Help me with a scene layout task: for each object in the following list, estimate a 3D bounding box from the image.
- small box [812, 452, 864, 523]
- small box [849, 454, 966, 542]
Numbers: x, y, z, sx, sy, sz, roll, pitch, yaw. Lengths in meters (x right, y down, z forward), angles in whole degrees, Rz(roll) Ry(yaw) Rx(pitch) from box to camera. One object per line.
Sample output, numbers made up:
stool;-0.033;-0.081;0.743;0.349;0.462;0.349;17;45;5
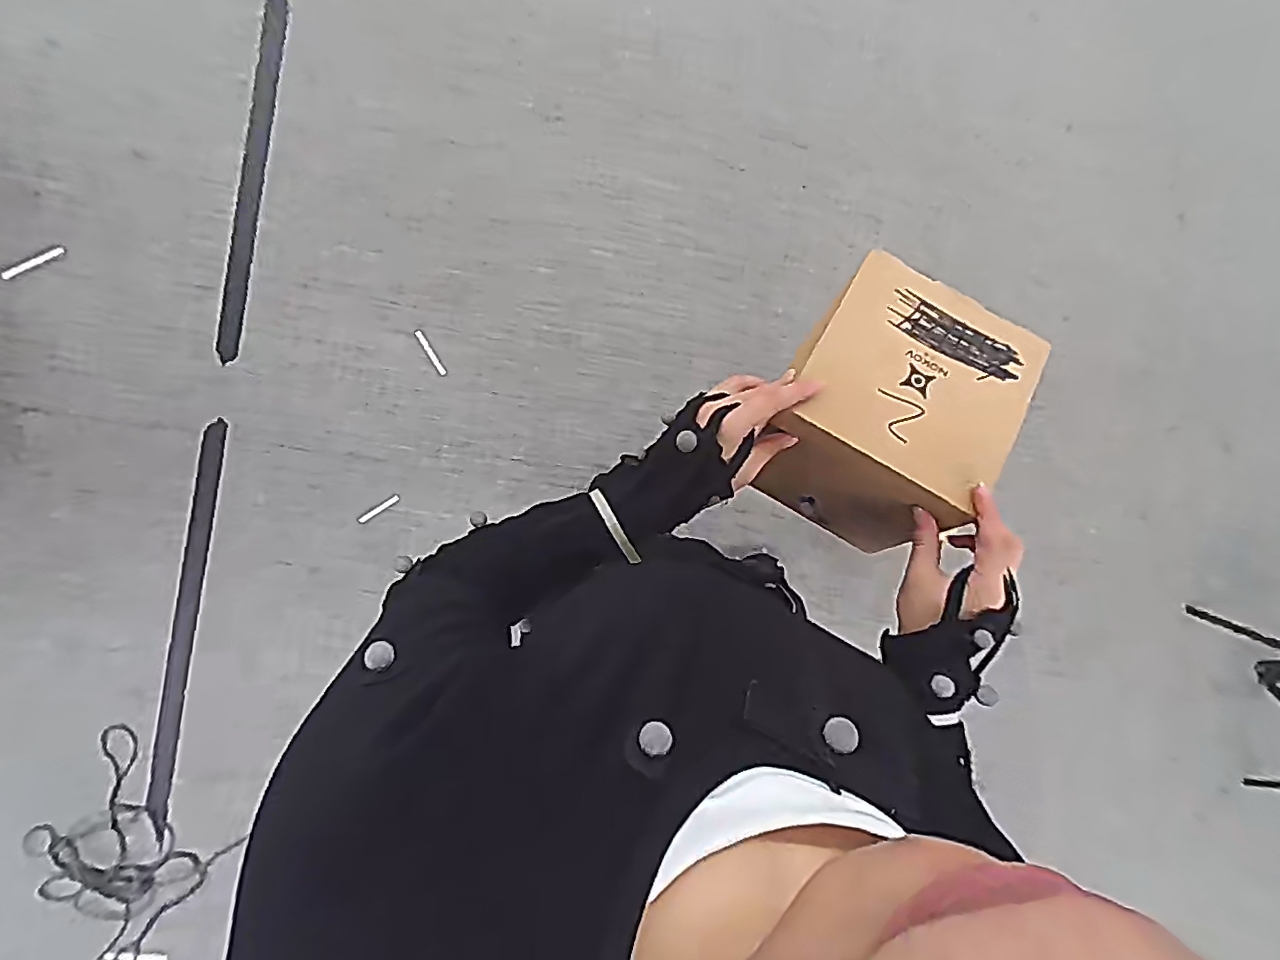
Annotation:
small box;0.556;0.028;1.359;0.179;0.176;0.168;11;92;-8
small box;0.584;0.034;1.198;0.168;0.176;0.179;4;93;-7
